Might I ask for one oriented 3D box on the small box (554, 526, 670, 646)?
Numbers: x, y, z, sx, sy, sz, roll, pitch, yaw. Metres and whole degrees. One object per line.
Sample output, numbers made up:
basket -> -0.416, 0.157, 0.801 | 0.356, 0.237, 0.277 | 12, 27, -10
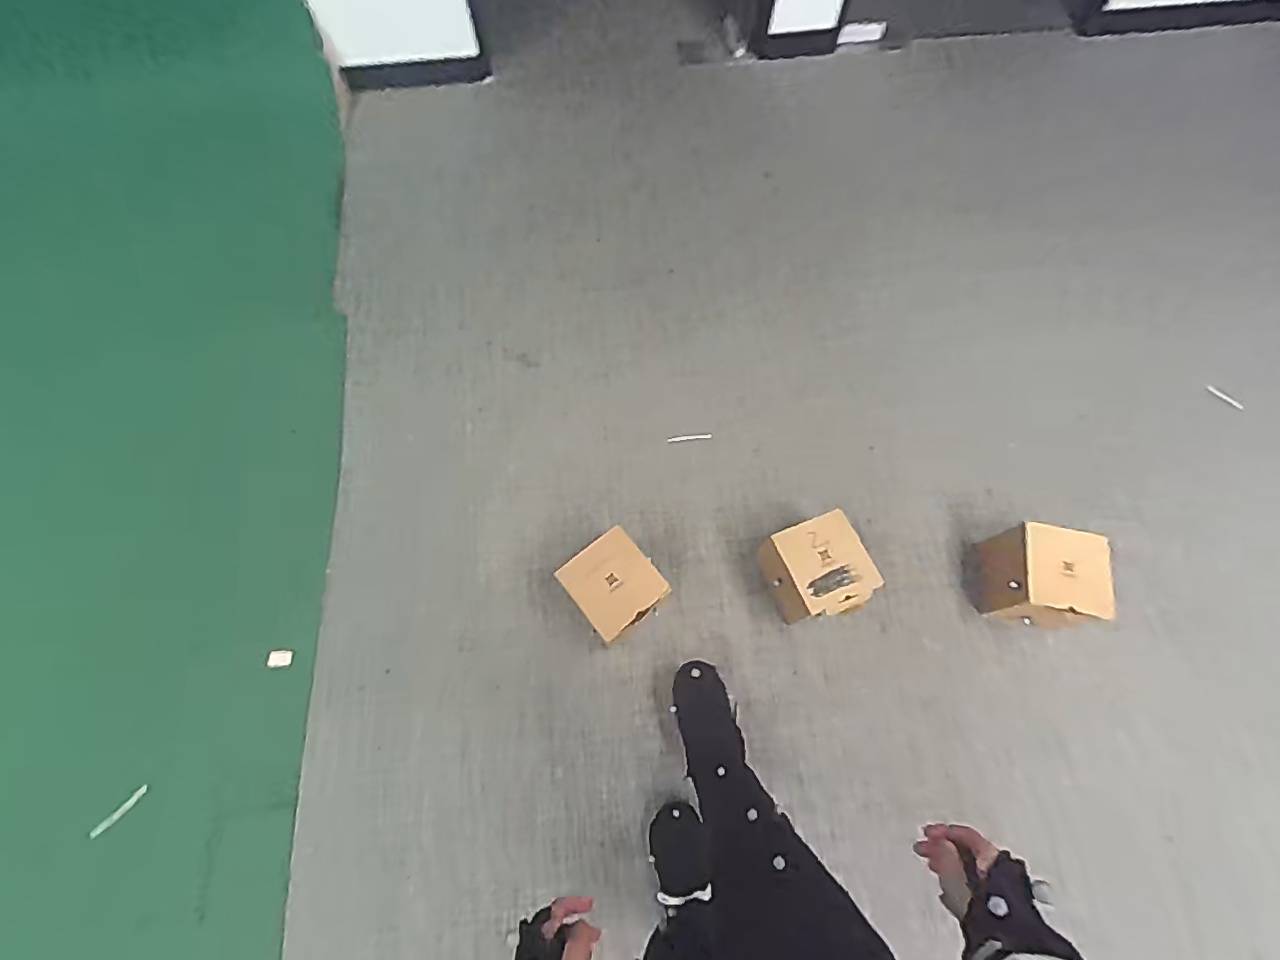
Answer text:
small box -> -0.055, 0.231, 1.134 | 0.168, 0.176, 0.179 | -37, 72, -15

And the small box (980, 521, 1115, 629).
small box -> 0.853, 0.207, 1.151 | 0.168, 0.176, 0.179 | 11, 69, 4
